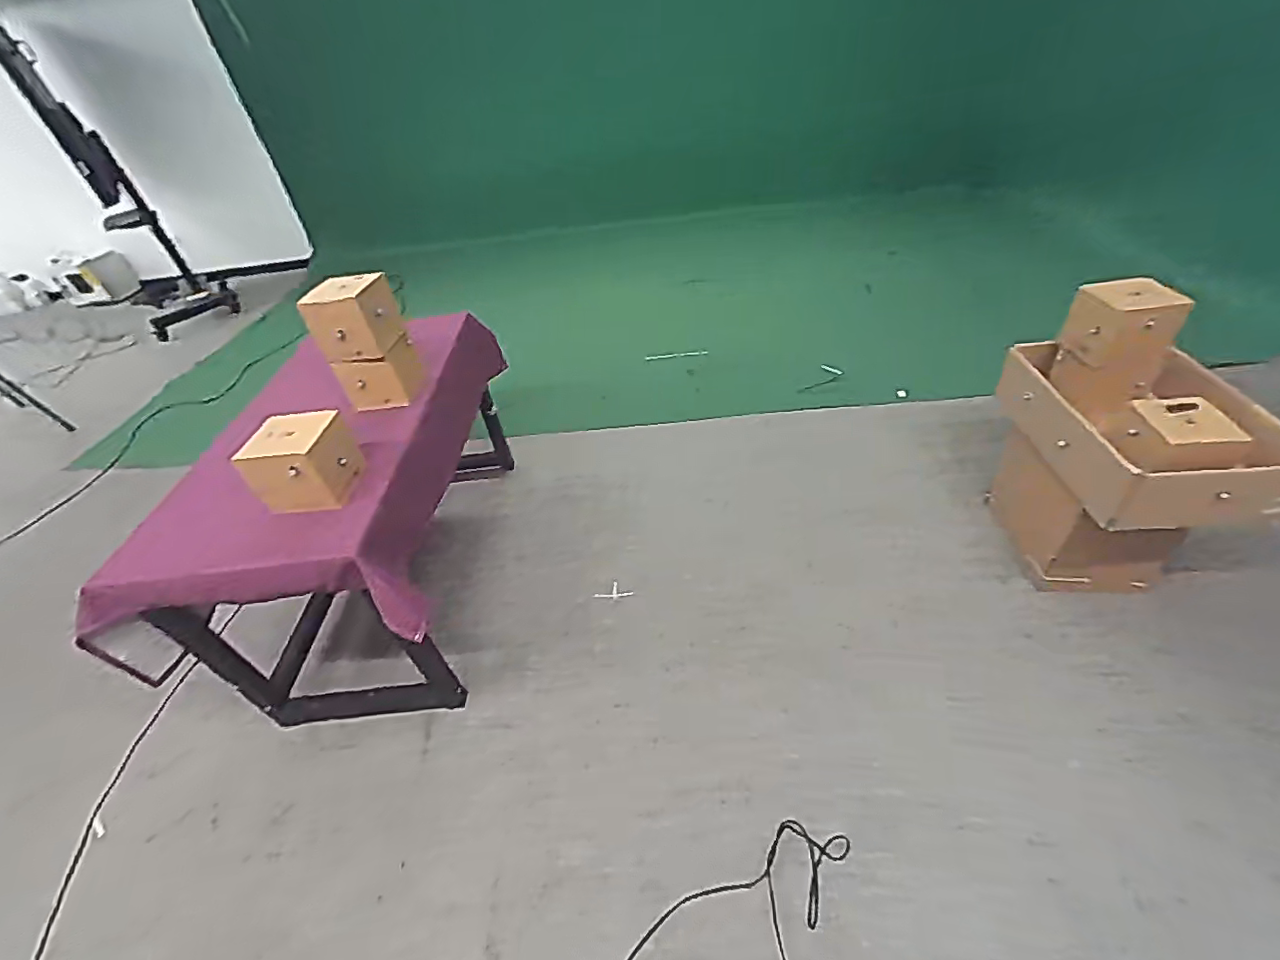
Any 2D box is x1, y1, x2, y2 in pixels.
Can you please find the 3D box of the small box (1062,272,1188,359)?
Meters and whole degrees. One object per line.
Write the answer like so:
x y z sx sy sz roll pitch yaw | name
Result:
1.287 -0.440 1.459 0.179 0.176 0.168 -6 42 3 | small box

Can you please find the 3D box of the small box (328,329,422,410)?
-0.763 -0.317 1.581 0.168 0.176 0.179 -7 41 4 | small box

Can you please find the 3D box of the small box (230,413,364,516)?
-0.783 -0.034 1.261 0.179 0.176 0.168 -6 41 5 | small box

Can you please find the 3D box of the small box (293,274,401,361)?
-0.781 -0.435 1.468 0.168 0.176 0.179 -3 42 8 | small box
